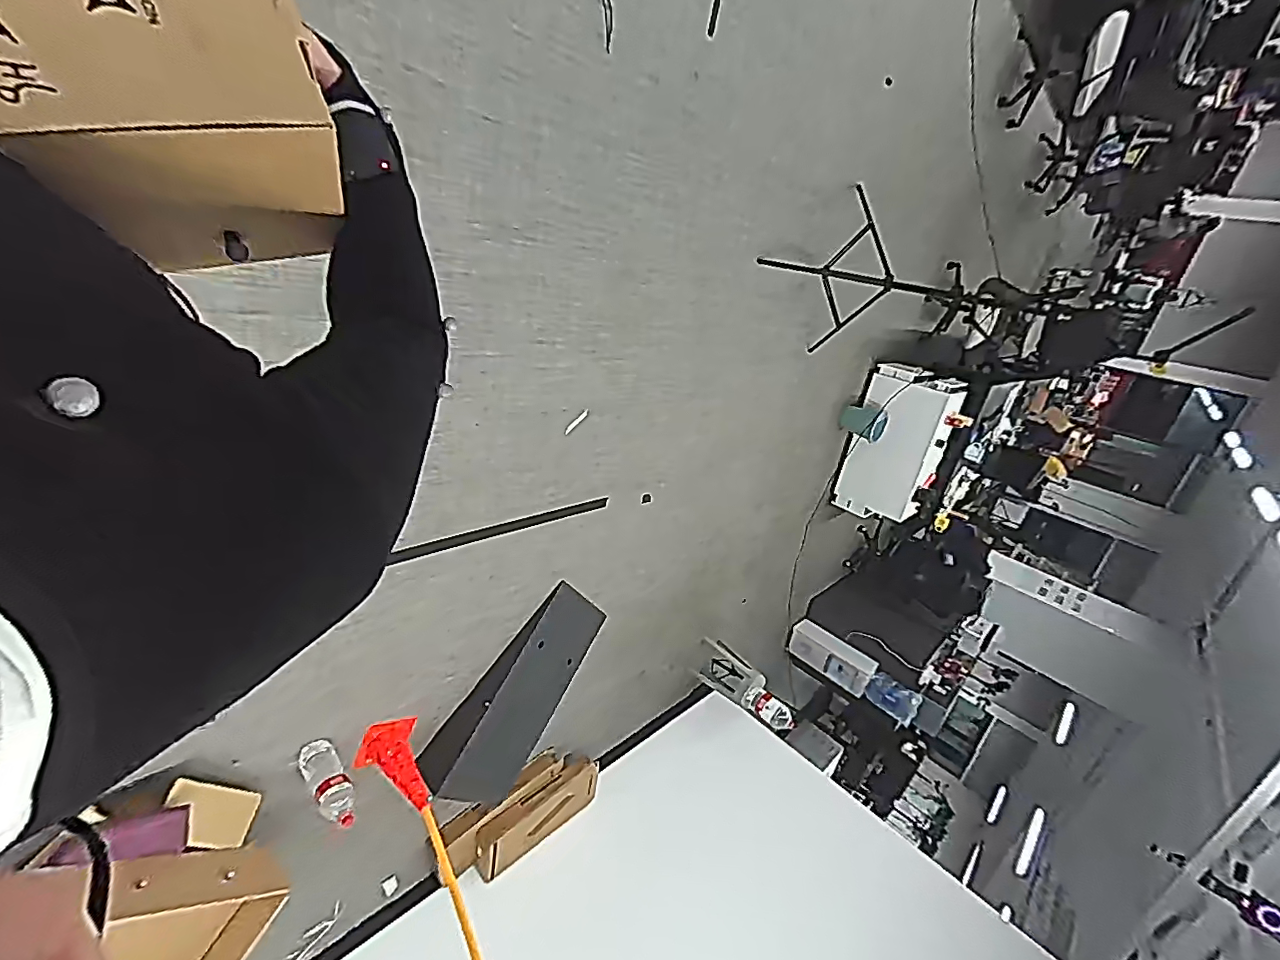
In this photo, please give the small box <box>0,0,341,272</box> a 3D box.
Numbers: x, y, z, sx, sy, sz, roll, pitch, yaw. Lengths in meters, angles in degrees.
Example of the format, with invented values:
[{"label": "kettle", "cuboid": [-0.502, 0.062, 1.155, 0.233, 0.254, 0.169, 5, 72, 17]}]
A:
[{"label": "small box", "cuboid": [-0.346, -0.281, 0.410, 0.179, 0.176, 0.168, -21, 91, -27]}]
